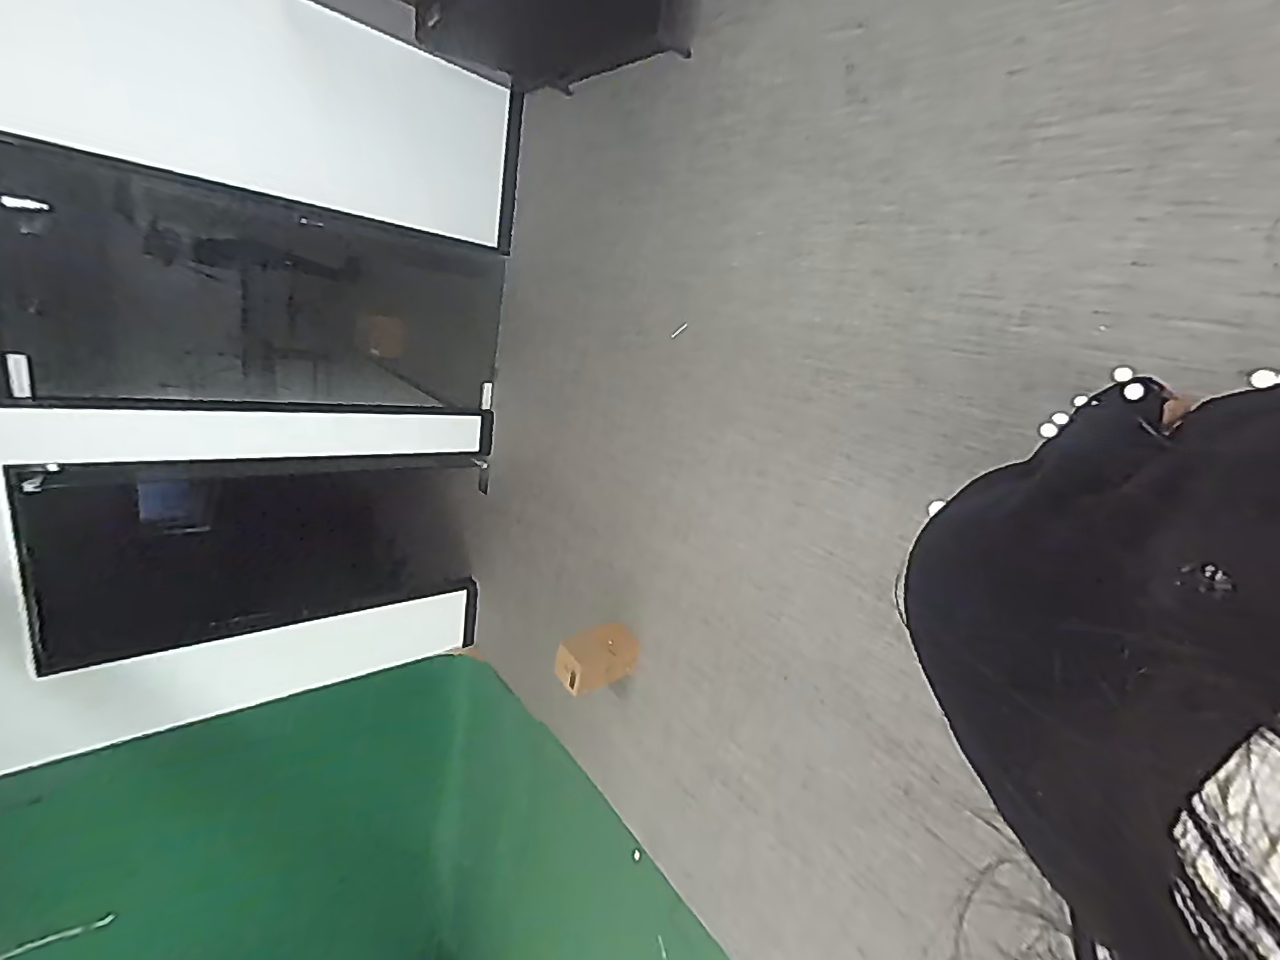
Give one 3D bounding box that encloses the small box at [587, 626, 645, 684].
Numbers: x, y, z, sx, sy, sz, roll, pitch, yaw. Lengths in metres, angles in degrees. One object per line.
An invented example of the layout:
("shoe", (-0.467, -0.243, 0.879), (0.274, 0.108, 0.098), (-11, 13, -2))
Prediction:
("small box", (-0.109, 0.781, 2.441), (0.179, 0.176, 0.168), (39, 122, 38))
